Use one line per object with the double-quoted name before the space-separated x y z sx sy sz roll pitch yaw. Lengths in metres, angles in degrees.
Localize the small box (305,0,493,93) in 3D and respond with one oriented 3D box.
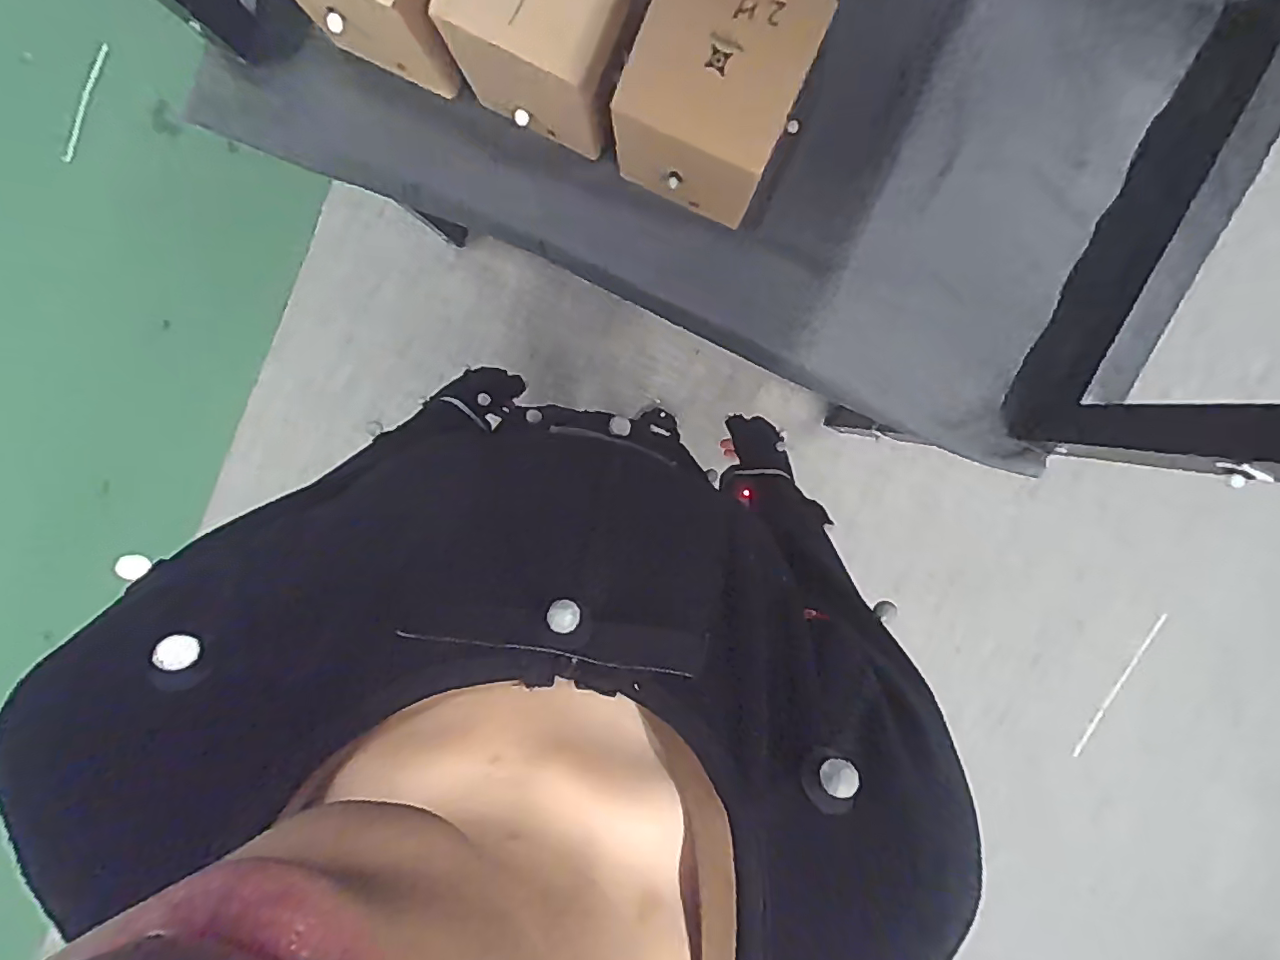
"small box" -0.273 -0.578 0.589 0.168 0.176 0.179 25 97 -2
